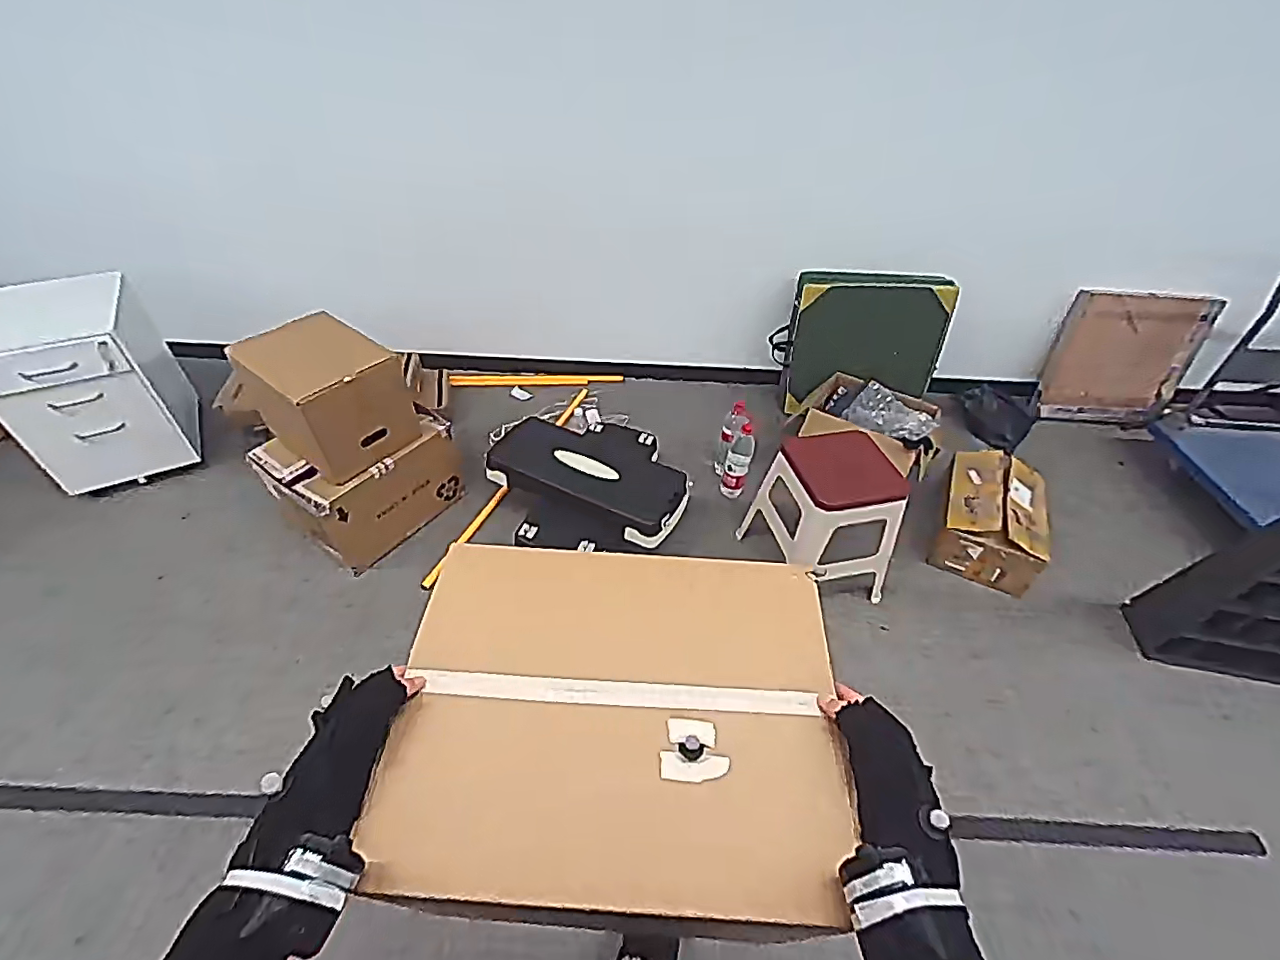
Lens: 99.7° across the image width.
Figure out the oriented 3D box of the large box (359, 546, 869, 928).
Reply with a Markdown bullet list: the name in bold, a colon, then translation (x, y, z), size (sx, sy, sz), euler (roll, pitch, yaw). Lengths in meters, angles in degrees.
- **large box**: translation (-0.020, 0.298, 0.622), size (0.408, 0.320, 0.320), euler (4, 48, 1)
